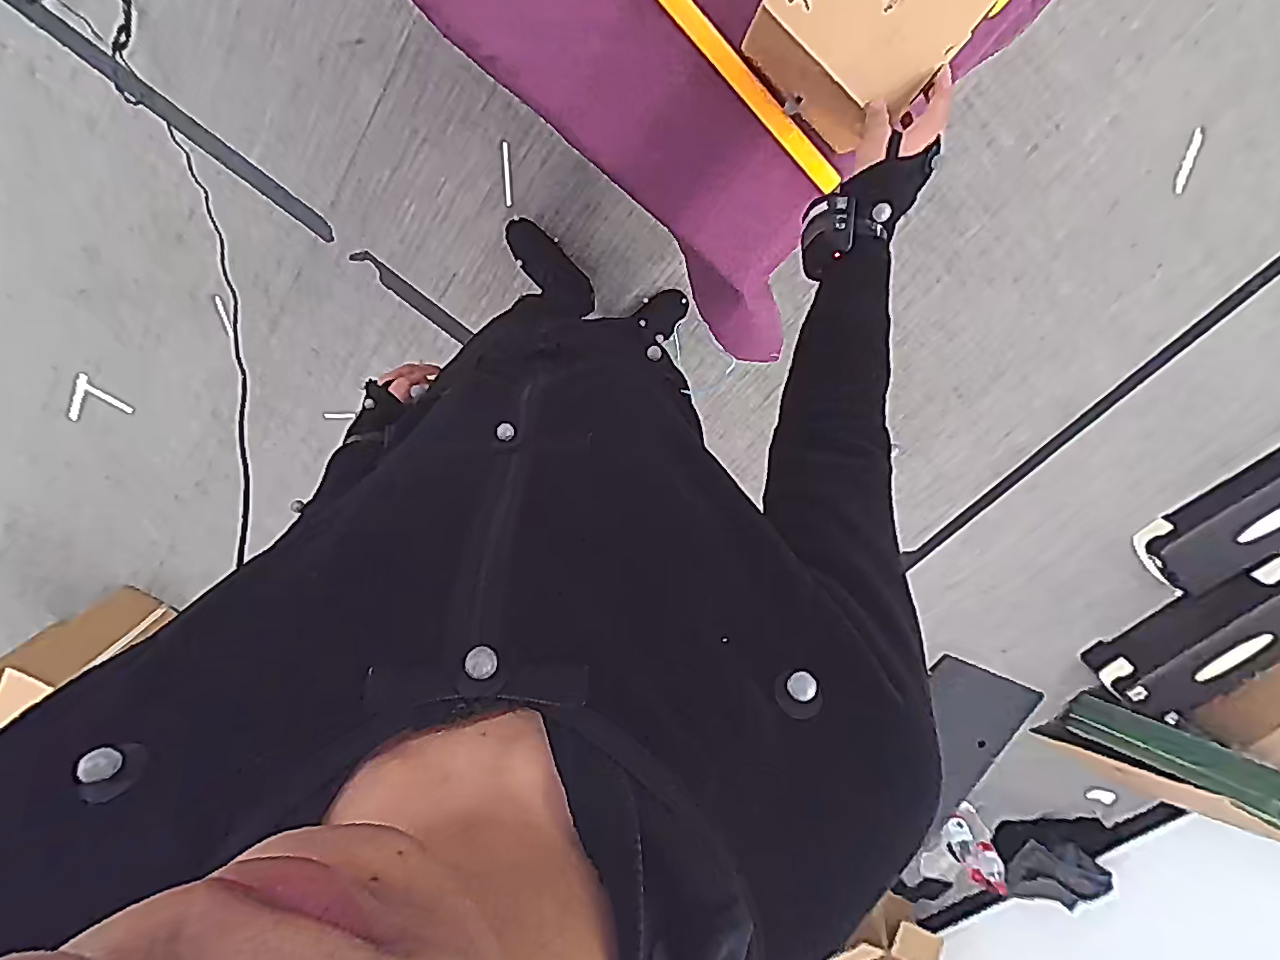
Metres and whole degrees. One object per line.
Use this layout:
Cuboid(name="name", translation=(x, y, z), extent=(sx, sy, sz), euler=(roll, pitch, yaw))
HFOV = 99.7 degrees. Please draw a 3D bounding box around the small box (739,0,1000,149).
Cuboid(name="small box", translation=(0.229, -0.489, 0.582), extent=(0.179, 0.176, 0.168), euler=(36, 113, -15))
